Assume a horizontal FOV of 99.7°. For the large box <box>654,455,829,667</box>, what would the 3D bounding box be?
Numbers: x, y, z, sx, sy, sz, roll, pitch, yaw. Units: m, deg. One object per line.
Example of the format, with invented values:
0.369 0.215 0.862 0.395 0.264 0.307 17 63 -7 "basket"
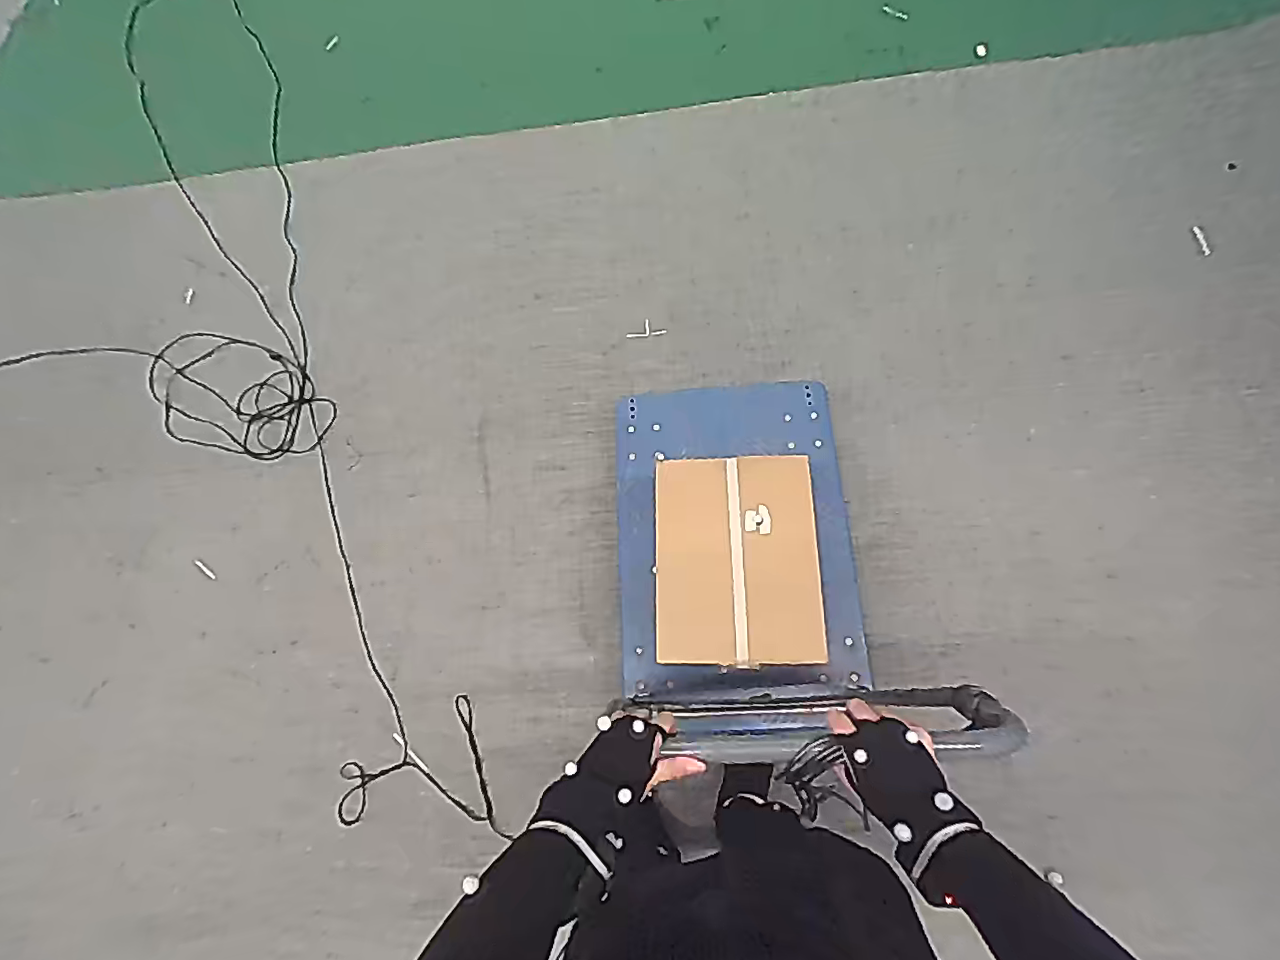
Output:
0.200 0.191 1.179 0.320 0.320 0.408 -1 71 5 "large box"
